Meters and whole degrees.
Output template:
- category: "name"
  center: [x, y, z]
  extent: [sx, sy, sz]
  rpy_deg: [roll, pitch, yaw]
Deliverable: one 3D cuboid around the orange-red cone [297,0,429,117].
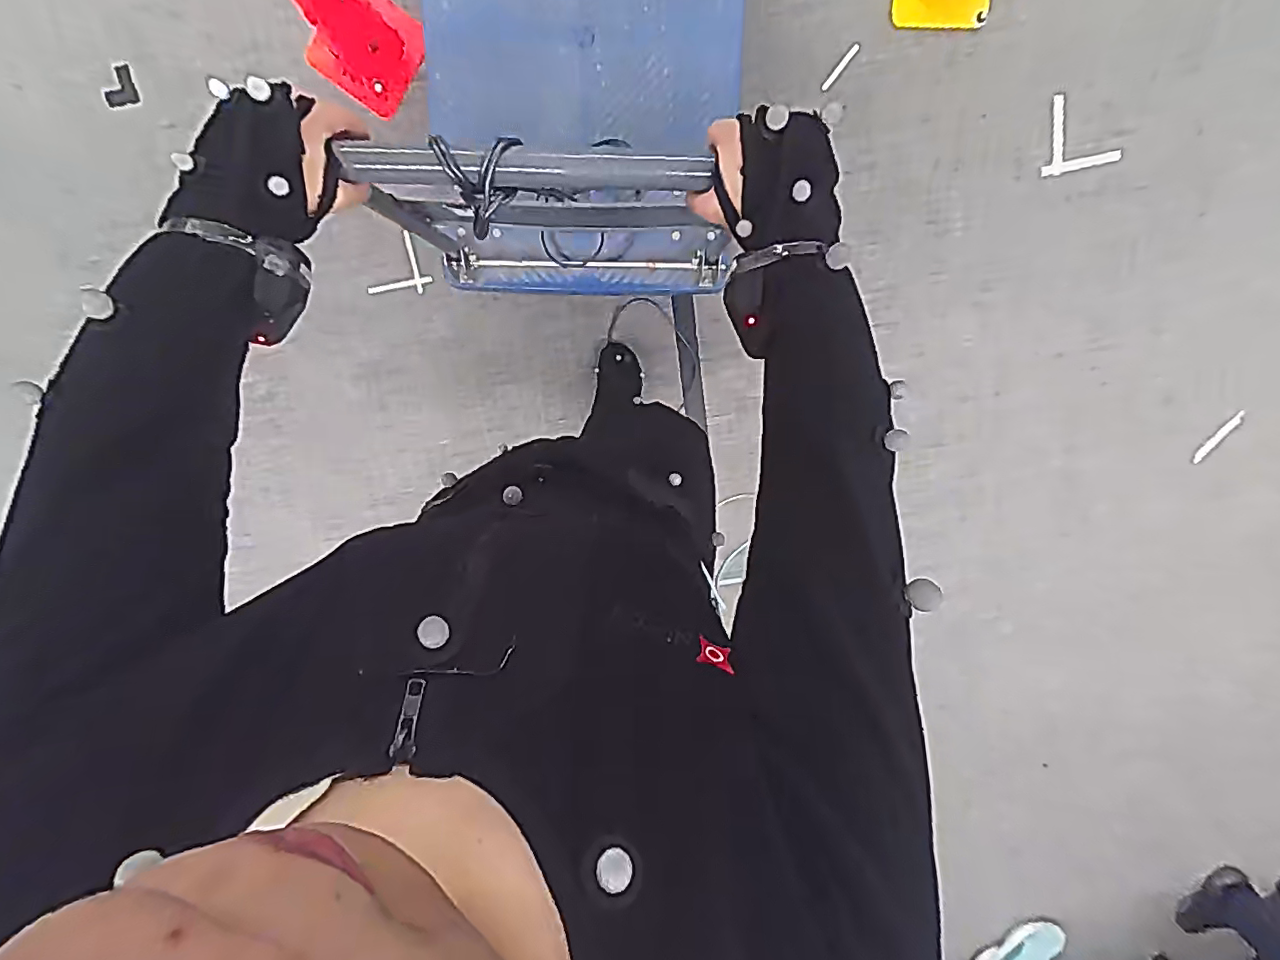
- category: "orange-red cone"
  center: [-0.553, -0.844, 0.945]
  extent: [0.198, 0.360, 0.199]
  rpy_deg: [35, 100, -11]
